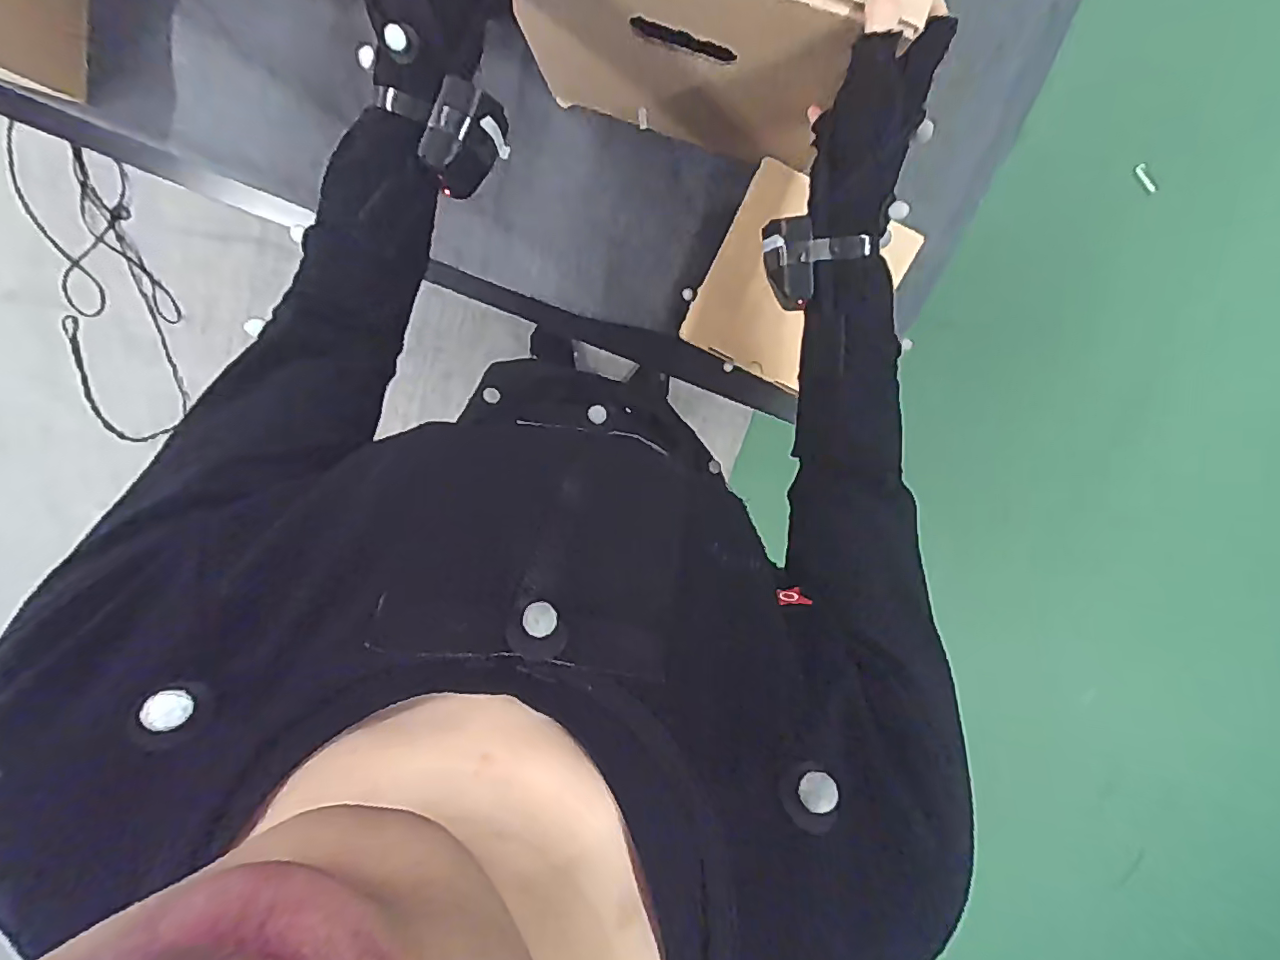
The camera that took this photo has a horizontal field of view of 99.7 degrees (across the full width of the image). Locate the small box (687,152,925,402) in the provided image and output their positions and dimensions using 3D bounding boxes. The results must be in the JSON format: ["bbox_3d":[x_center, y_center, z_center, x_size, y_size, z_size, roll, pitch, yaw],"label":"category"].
[{"bbox_3d":[0.158,-0.209,0.588,0.168,0.176,0.179,25,107,-4],"label":"small box"}]
